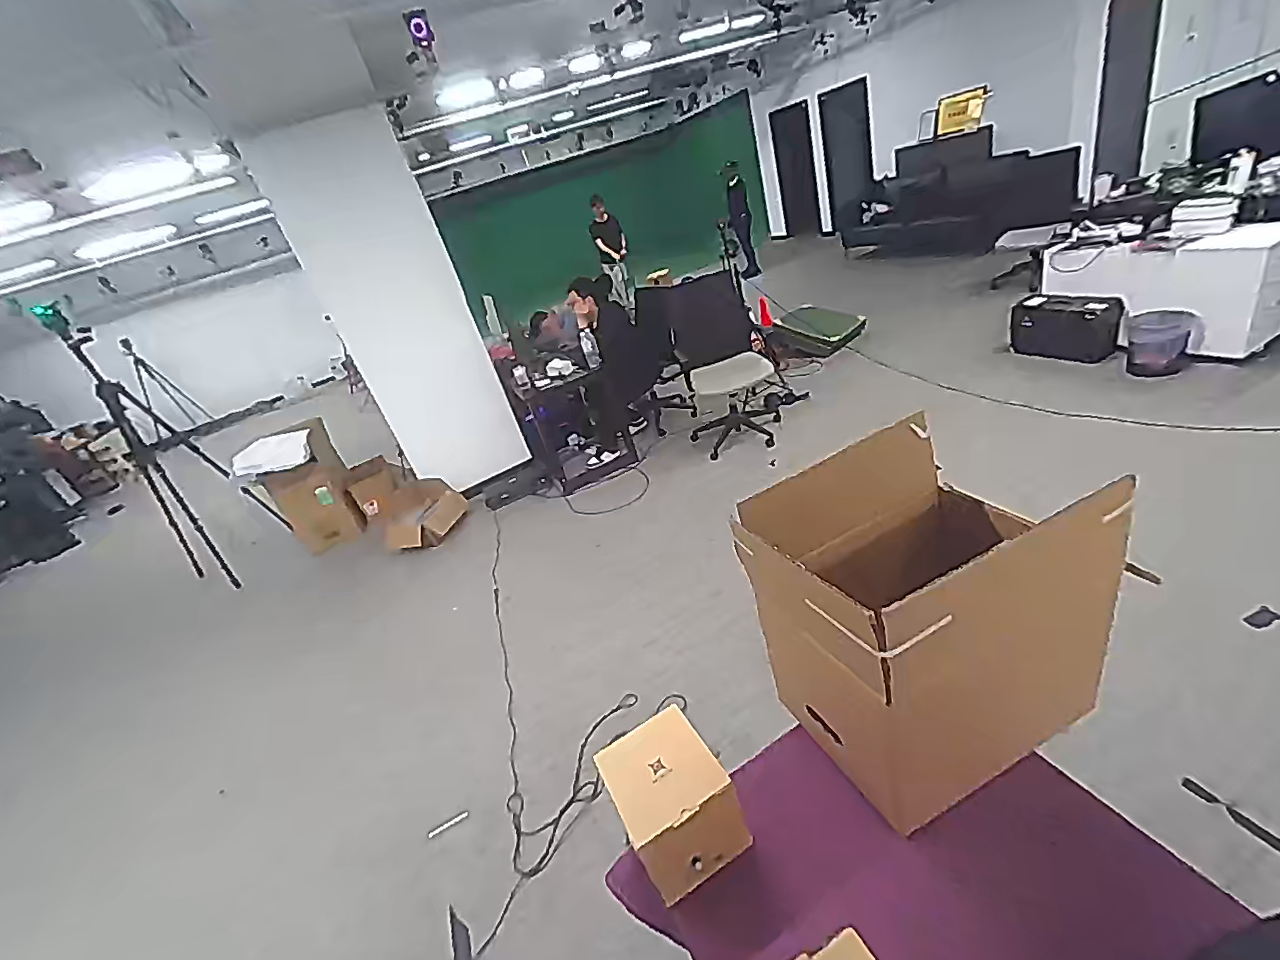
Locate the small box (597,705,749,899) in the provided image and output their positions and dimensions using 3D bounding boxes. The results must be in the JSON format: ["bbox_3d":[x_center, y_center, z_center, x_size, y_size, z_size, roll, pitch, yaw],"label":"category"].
[{"bbox_3d":[0.054,0.516,0.877,0.168,0.176,0.179,-27,30,-16],"label":"small box"}]
